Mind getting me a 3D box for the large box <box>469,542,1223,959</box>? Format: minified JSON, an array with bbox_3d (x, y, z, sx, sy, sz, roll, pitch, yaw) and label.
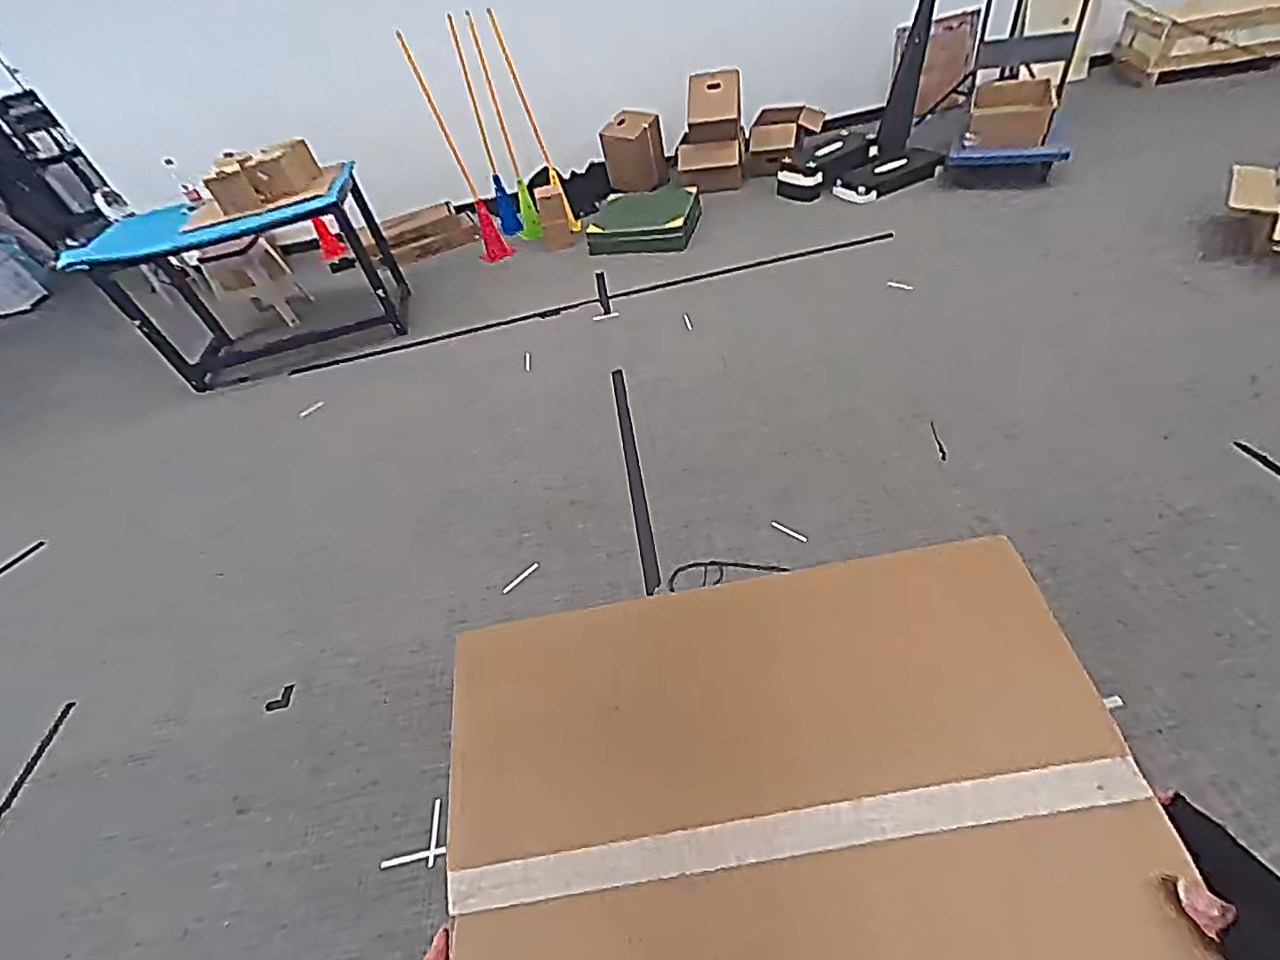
[{"bbox_3d":[0.108,0.288,0.452,0.408,0.320,0.320,-11,60,2],"label":"large box"}]
